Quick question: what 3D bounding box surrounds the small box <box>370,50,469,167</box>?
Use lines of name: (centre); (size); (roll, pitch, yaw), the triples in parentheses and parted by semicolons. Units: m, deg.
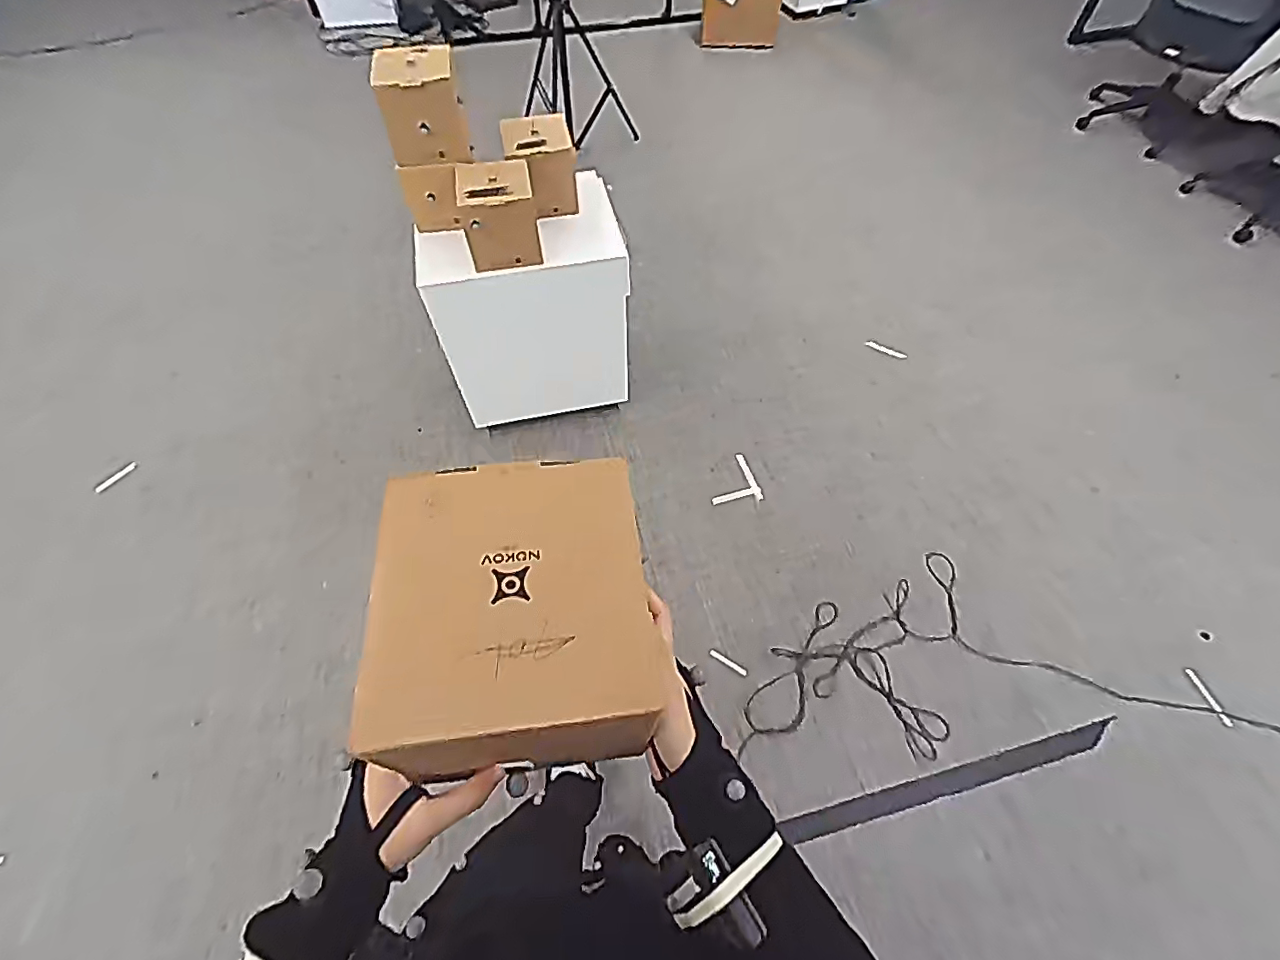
small box: (-0.493, -0.837, 1.231); (0.168, 0.176, 0.179); (-9, 59, -7)

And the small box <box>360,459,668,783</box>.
small box: (-0.081, 0.107, 0.400); (0.168, 0.176, 0.179); (-5, 56, -7)

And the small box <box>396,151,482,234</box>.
small box: (-0.500, -0.744, 1.366); (0.168, 0.176, 0.179); (-8, 59, -6)
